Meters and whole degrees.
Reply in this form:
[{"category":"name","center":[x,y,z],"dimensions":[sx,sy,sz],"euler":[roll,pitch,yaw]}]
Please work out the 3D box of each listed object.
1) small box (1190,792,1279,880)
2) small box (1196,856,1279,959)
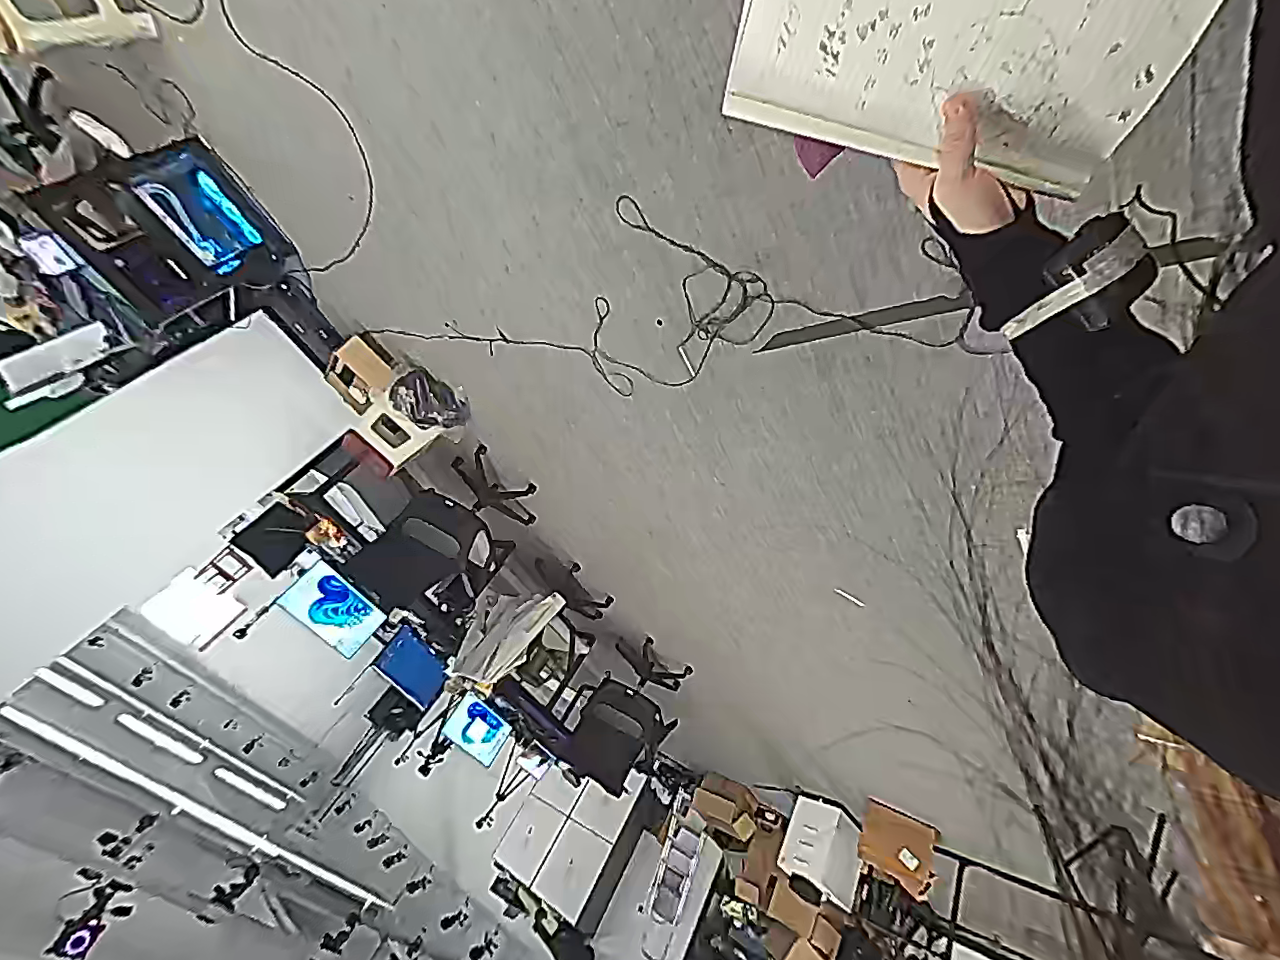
[{"category":"small box","center":[1.554,0.939,1.396],"dimensions":[0.179,0.176,0.168],"euler":[0,134,40]},{"category":"small box","center":[1.482,1.062,1.312],"dimensions":[0.168,0.176,0.179],"euler":[3,136,39]}]
